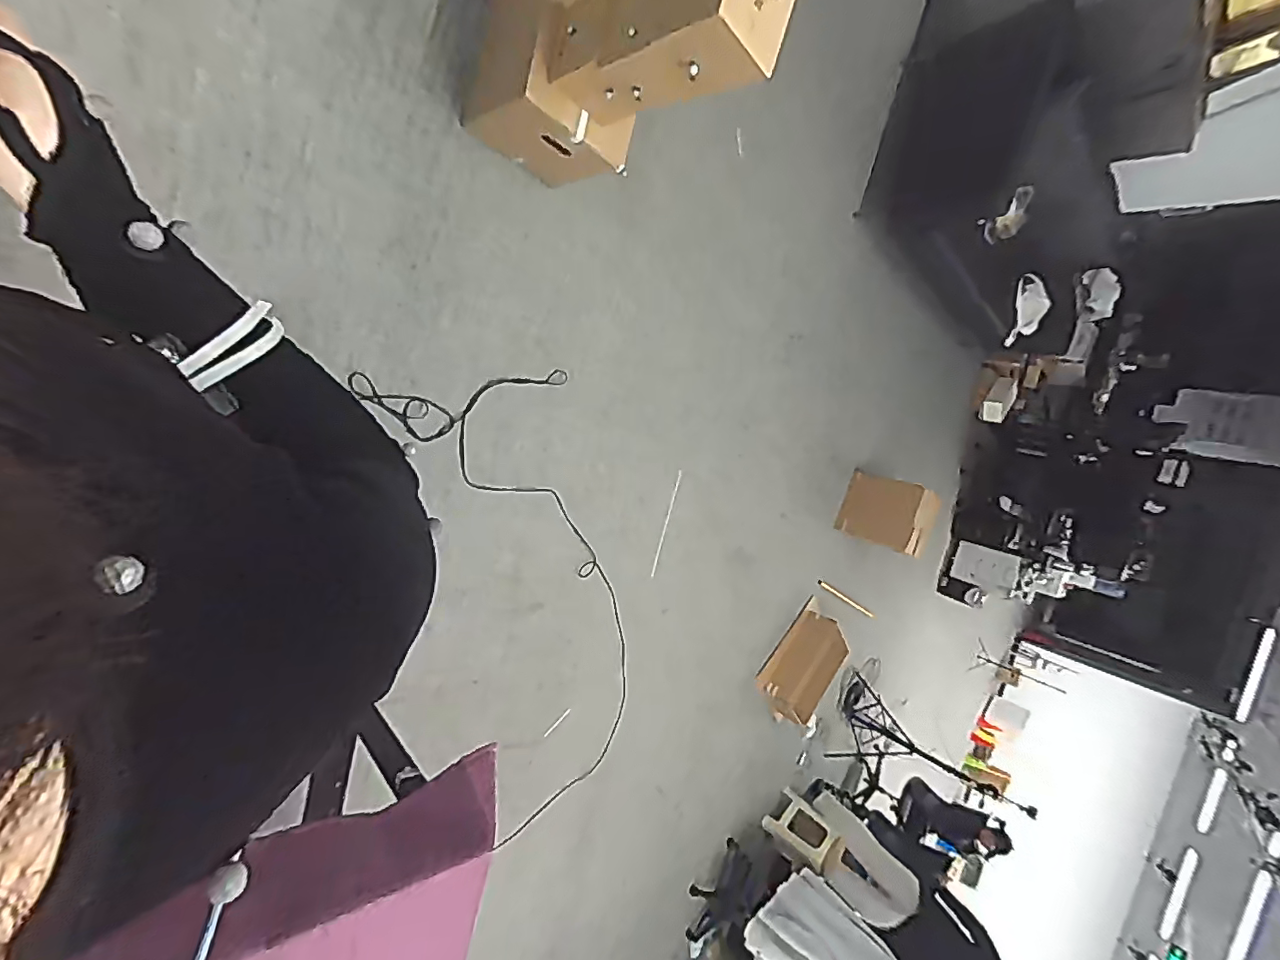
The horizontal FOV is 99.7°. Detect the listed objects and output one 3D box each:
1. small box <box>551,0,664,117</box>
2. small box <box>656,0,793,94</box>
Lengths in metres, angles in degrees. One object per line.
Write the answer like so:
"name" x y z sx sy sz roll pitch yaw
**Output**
"small box" -0.070 -0.954 1.216 0.179 0.176 0.168 8 98 -45
"small box" 0.155 -0.861 0.993 0.168 0.176 0.179 13 96 -45
